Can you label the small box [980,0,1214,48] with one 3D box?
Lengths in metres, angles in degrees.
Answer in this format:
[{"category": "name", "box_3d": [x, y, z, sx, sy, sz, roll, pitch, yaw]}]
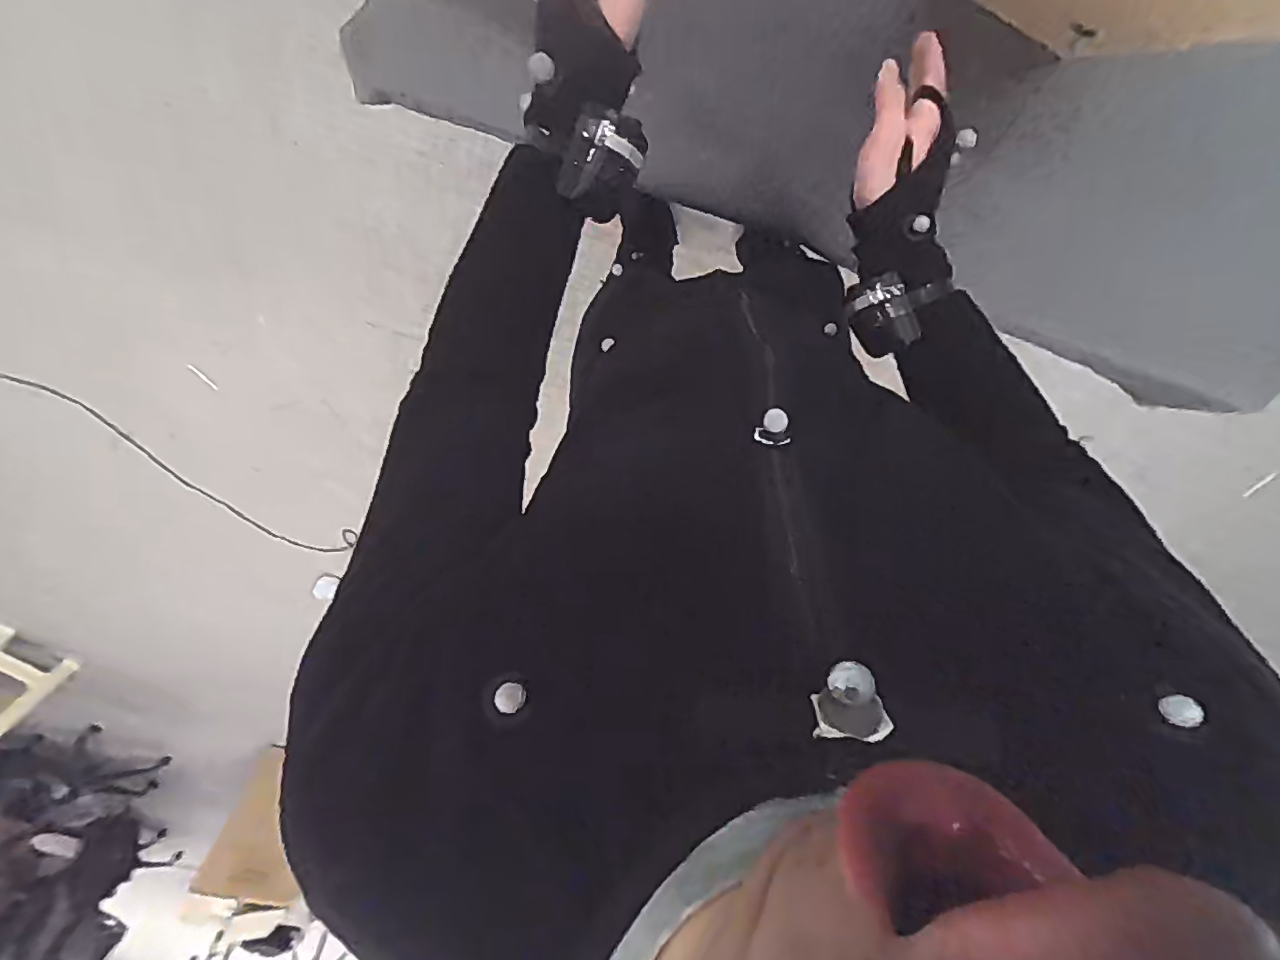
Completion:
[{"category": "small box", "box_3d": [0.369, -0.459, 0.405, 0.179, 0.176, 0.168, 20, 124, -12]}]
